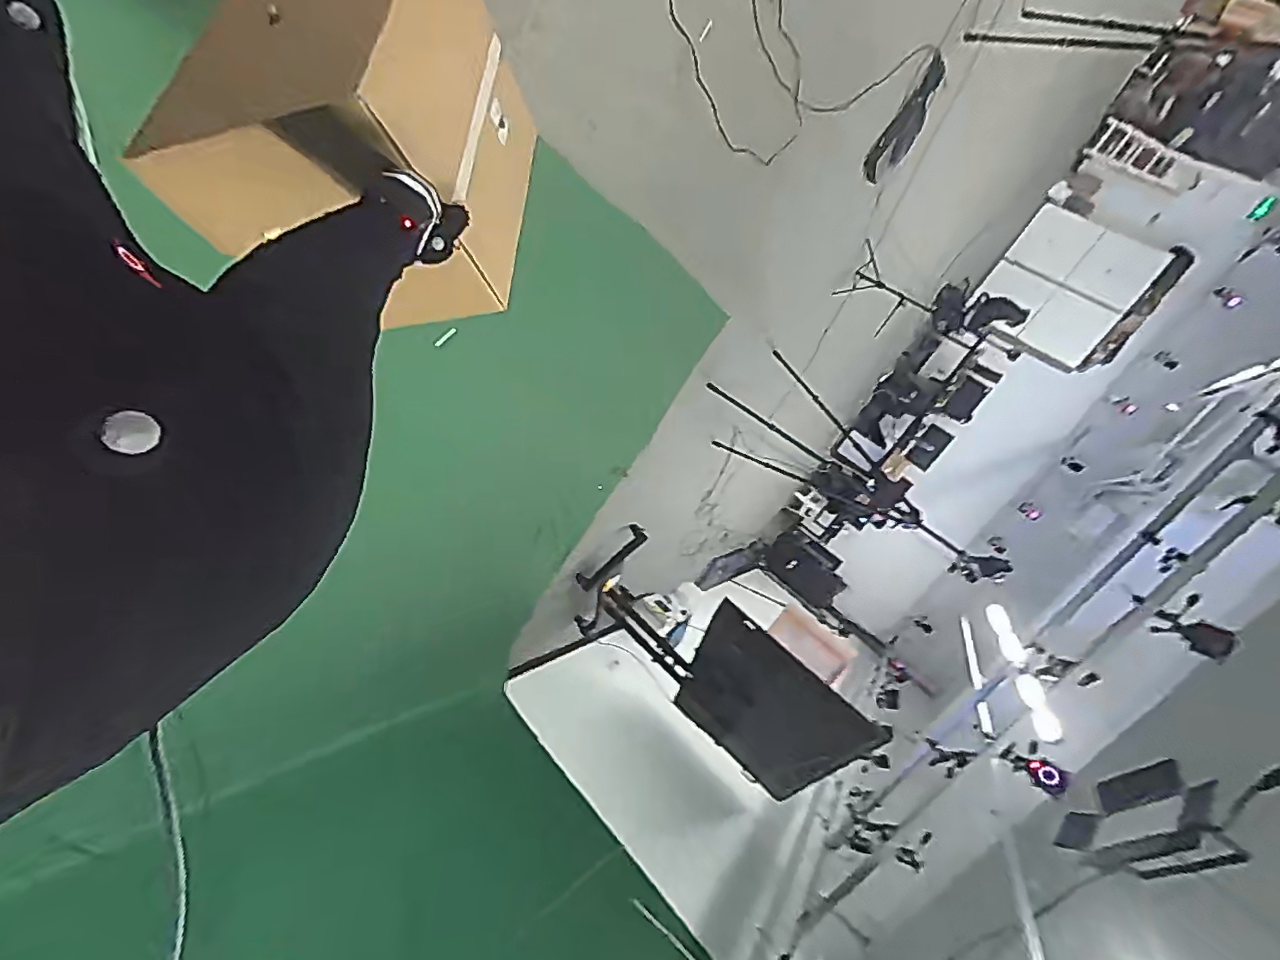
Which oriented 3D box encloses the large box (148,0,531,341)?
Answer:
[{"bbox_3d":[-0.380,-0.473,0.783,0.320,0.320,0.408,59,29,-62],"label":"large box"}]
